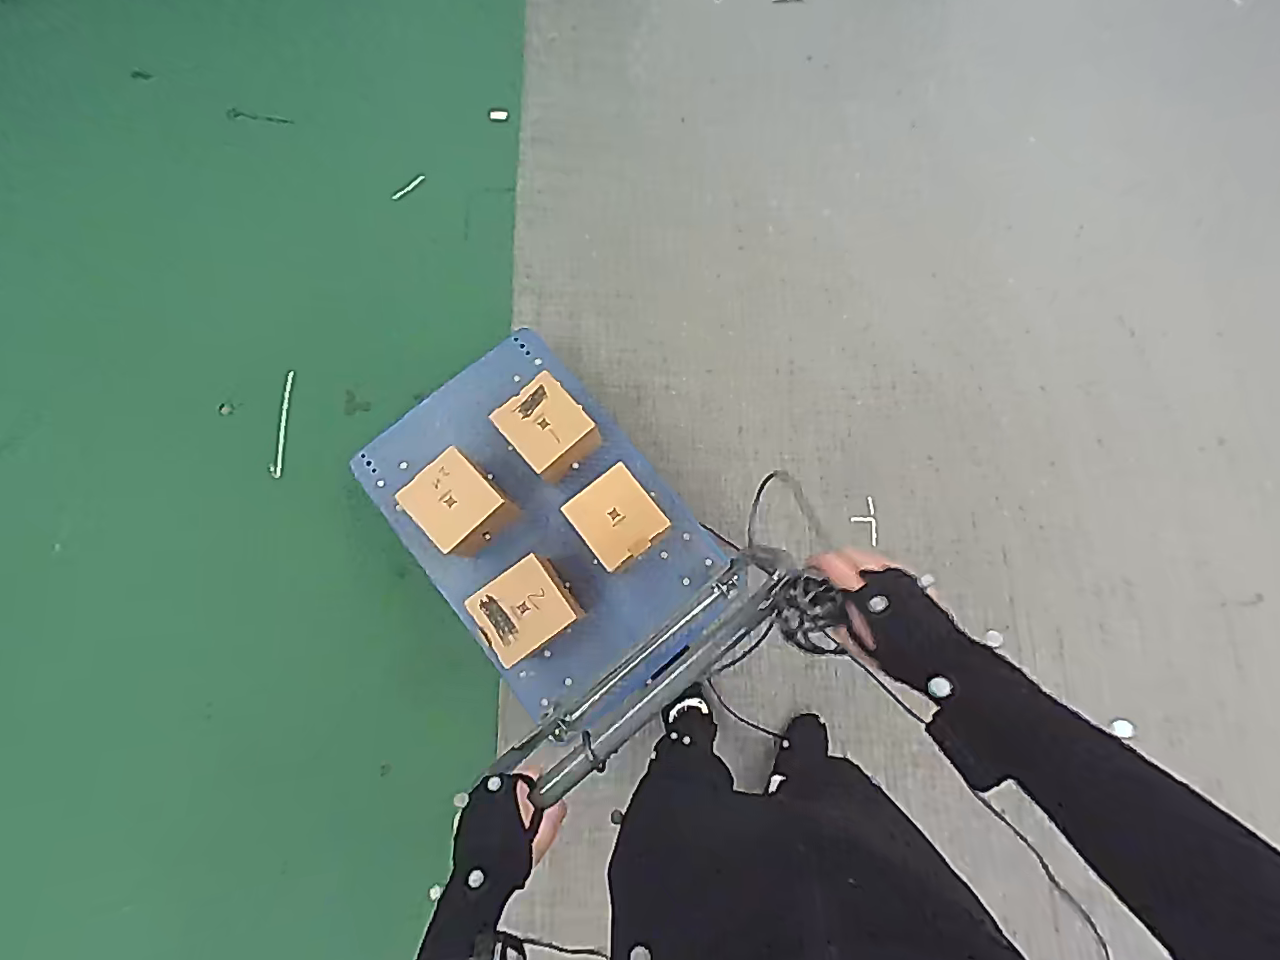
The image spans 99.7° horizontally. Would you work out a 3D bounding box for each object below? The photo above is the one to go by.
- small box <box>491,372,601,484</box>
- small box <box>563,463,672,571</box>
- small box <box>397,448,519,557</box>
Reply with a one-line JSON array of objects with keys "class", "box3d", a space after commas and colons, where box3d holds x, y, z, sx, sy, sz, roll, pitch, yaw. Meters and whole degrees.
[{"class": "small box", "box3d": [-0.209, -0.111, 1.252, 0.168, 0.176, 0.179, -41, 82, -5]}, {"class": "small box", "box3d": [-0.048, 0.091, 1.211, 0.168, 0.176, 0.179, -38, 81, -6]}, {"class": "small box", "box3d": [-0.401, 0.058, 1.225, 0.168, 0.176, 0.179, -43, 81, -7]}]
